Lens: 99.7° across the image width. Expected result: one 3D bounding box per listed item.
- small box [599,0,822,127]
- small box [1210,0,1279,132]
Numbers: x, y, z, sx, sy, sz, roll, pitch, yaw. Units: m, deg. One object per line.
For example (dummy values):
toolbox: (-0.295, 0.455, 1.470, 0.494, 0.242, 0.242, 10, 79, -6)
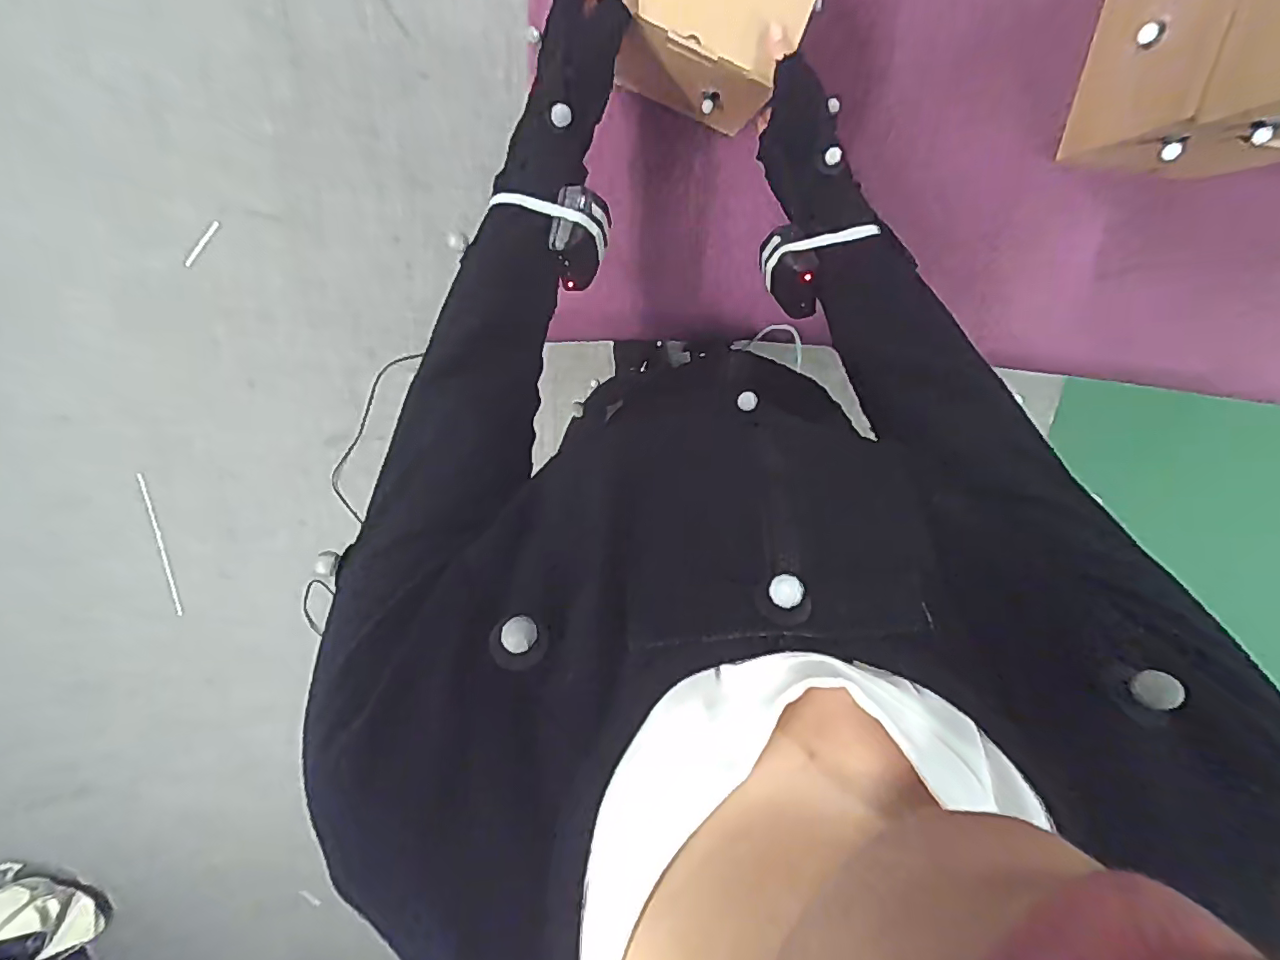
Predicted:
small box: (0.068, -0.446, 0.471, 0.168, 0.176, 0.179, 17, 108, -12)
small box: (0.552, -0.341, 0.353, 0.168, 0.176, 0.179, 5, 108, -1)
